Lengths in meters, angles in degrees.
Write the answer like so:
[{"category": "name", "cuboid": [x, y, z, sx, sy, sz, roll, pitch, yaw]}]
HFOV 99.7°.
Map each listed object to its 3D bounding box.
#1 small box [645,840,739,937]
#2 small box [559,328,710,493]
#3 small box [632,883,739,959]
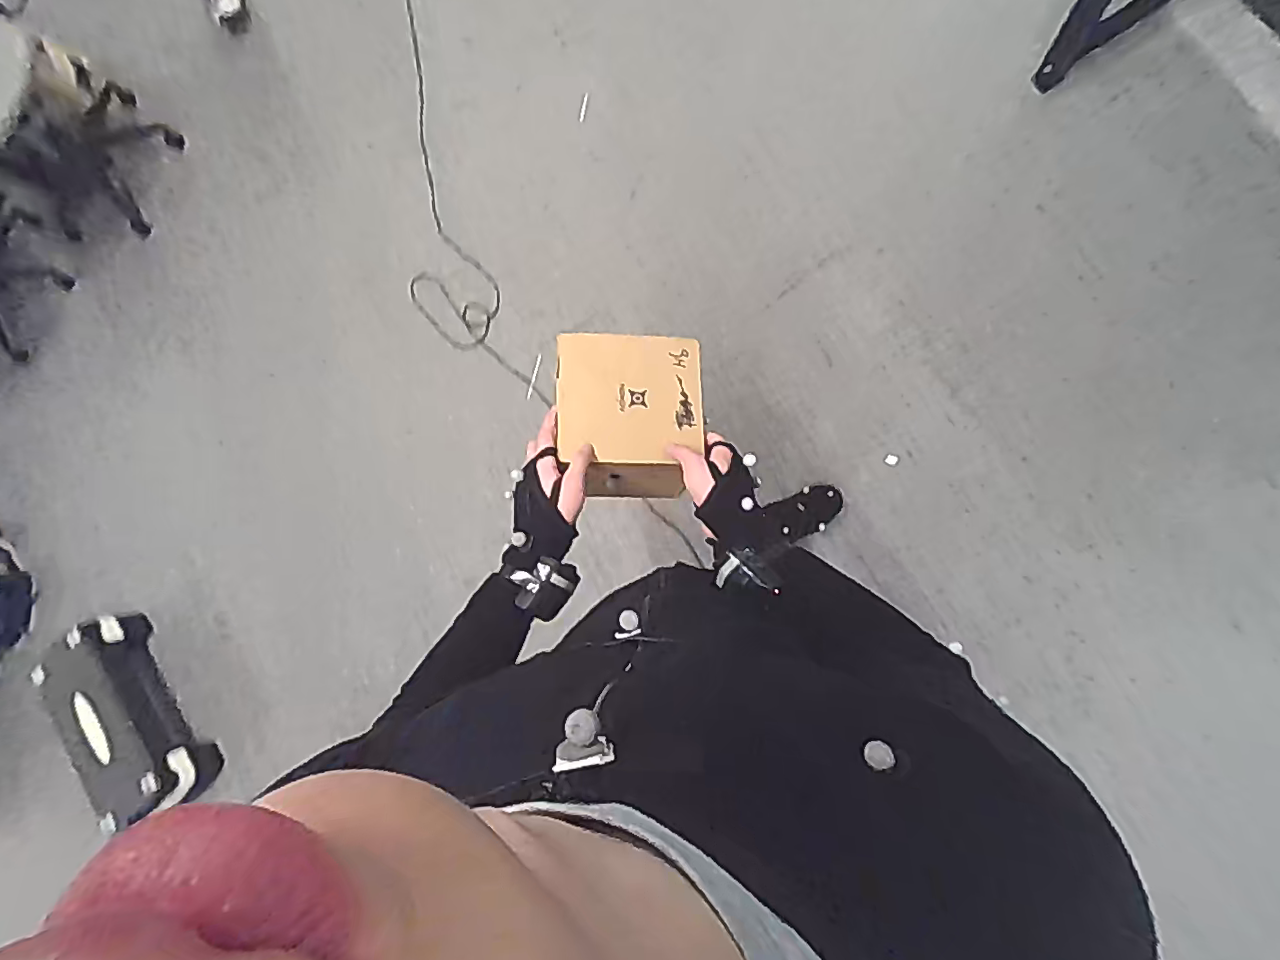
[{"category": "small box", "cuboid": [0.139, 1.071, 1.375, 0.179, 0.176, 0.168, -32, 80, 7]}, {"category": "small box", "cuboid": [-0.012, -0.082, 0.715, 0.179, 0.176, 0.168, 2, 74, -6]}, {"category": "small box", "cuboid": [0.109, 1.063, 1.213, 0.179, 0.176, 0.168, -30, 80, 8]}]
